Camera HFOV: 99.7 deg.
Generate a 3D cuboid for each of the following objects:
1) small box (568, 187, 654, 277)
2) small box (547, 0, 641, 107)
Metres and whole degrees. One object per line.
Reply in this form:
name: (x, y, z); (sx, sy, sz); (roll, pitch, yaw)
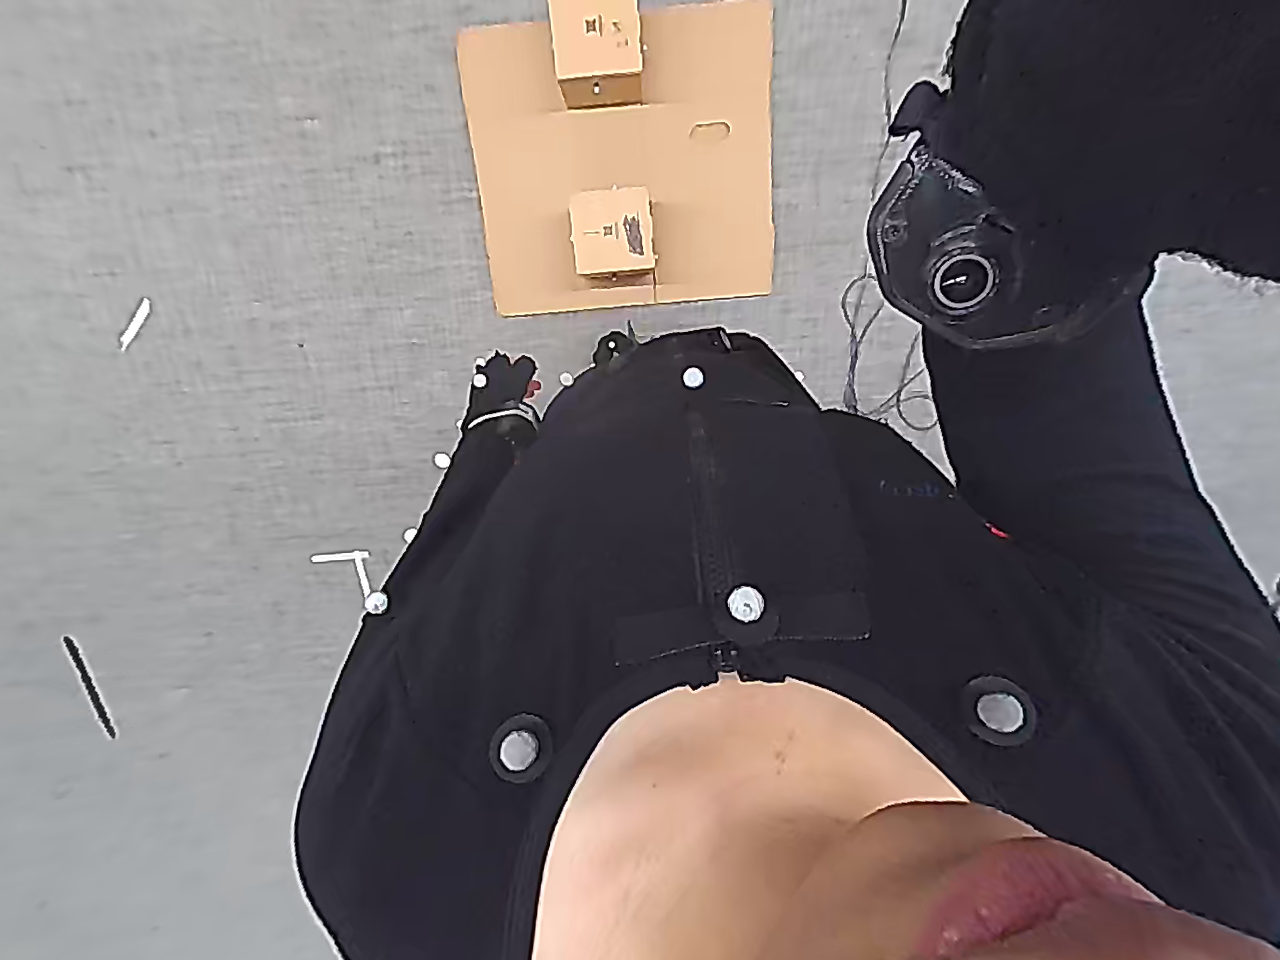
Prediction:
small box: (-0.063, -0.565, 1.247); (0.179, 0.176, 0.168); (-4, 108, 2)
small box: (-0.090, -0.908, 1.134); (0.179, 0.176, 0.168); (-4, 109, 1)
